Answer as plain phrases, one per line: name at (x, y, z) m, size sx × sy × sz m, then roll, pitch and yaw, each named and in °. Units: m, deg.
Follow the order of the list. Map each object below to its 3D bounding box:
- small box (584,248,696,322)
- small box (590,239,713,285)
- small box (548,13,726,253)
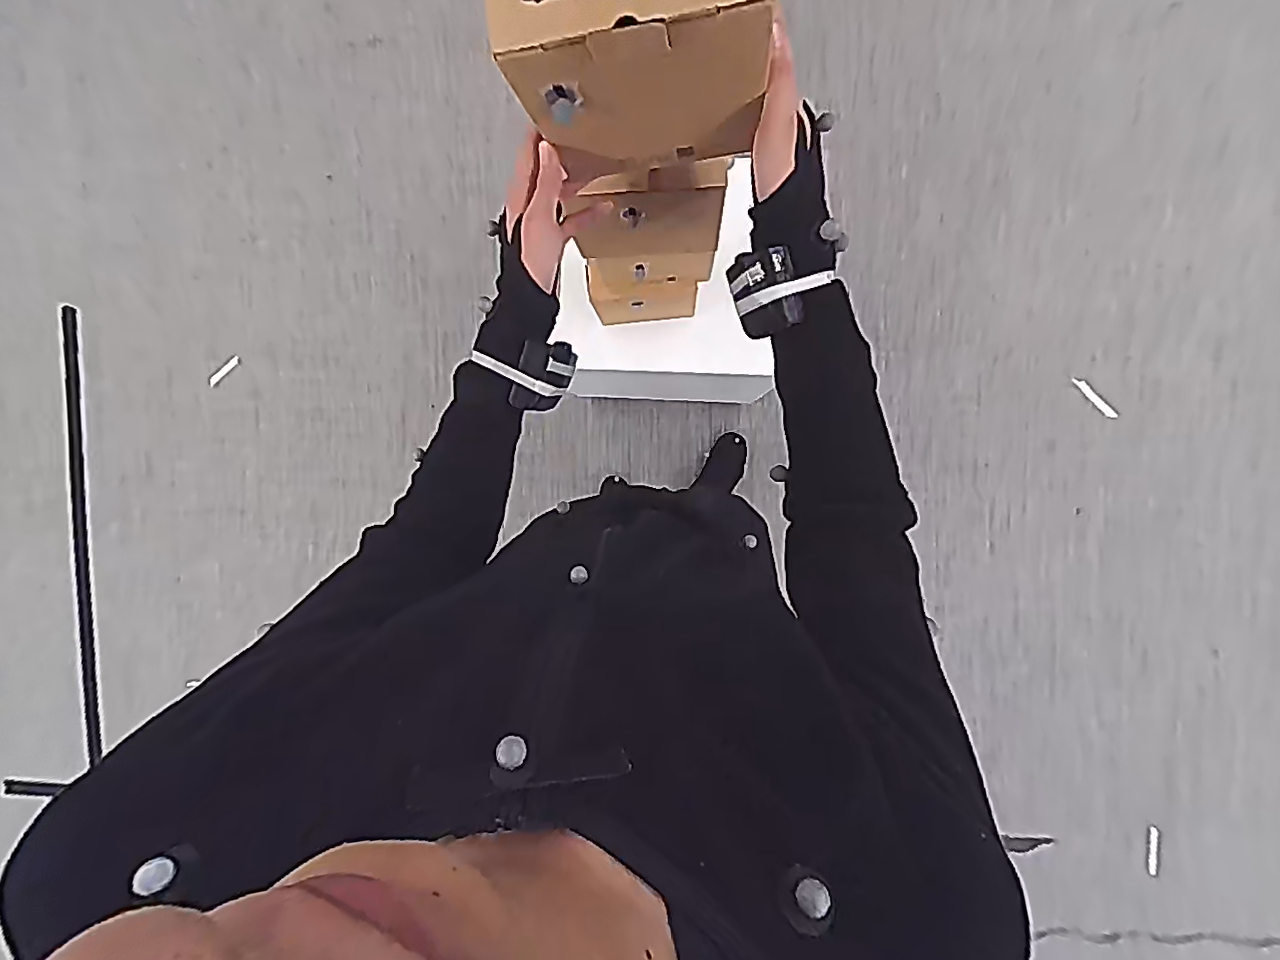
small box at (0.003, -0.380, 0.936) m, size 0.179 × 0.176 × 0.168 m, roll -5°, pitch 93°, yaw 3°
small box at (0.016, -0.389, 0.772) m, size 0.168 × 0.176 × 0.179 m, roll -4°, pitch 92°, yaw 4°
small box at (0.003, -0.369, 0.608) m, size 0.179 × 0.176 × 0.168 m, roll -1°, pitch 93°, yaw 4°
